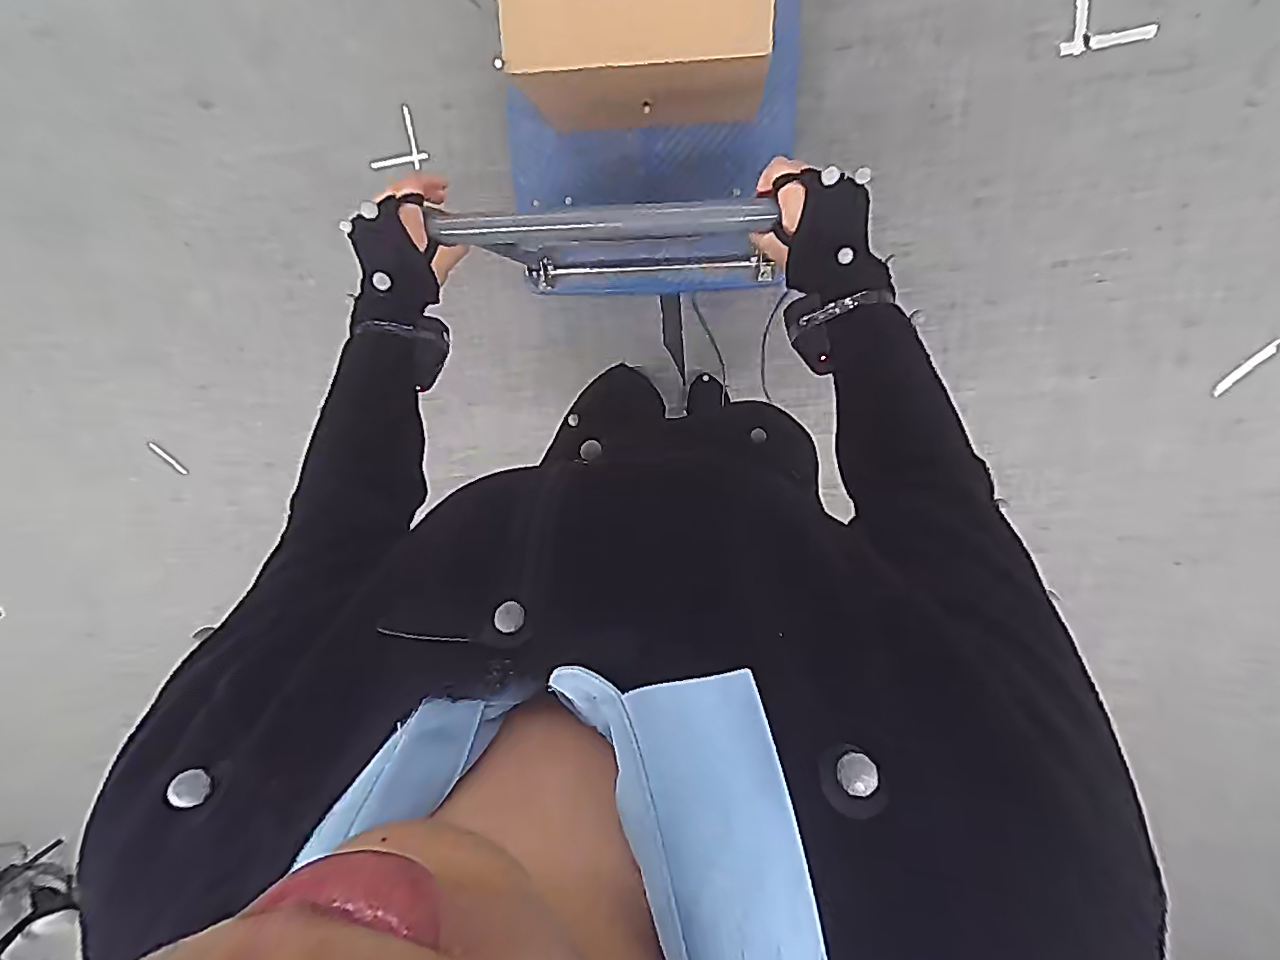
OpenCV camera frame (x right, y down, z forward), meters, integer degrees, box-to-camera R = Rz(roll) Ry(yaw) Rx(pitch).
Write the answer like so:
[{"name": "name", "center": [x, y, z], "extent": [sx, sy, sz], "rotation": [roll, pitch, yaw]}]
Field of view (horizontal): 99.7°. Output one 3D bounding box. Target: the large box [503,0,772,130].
[{"name": "large box", "center": [0.010, -0.818, 0.911], "extent": [0.408, 0.320, 0.320], "rotation": [1, 108, 8]}]
